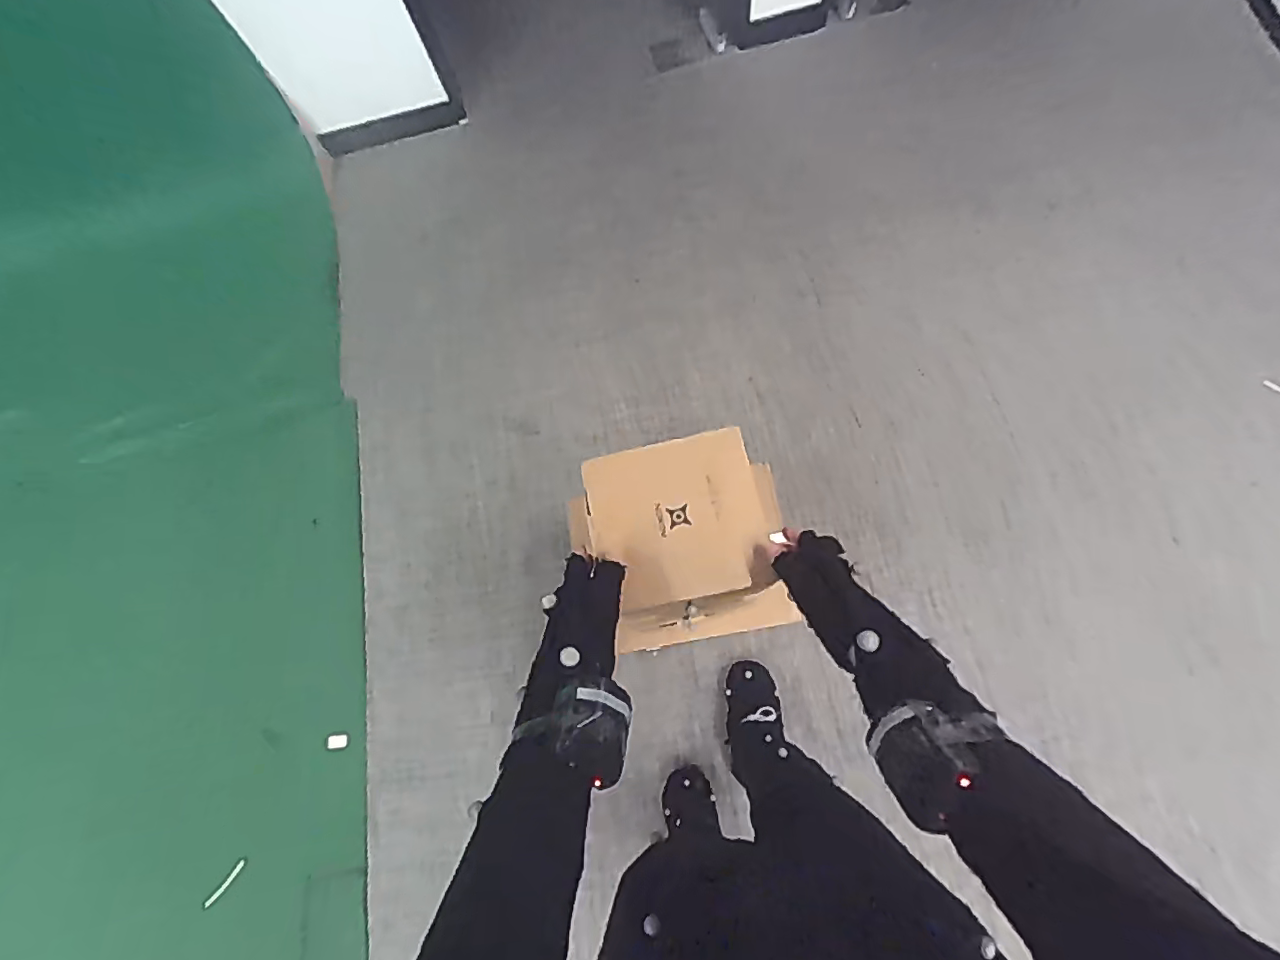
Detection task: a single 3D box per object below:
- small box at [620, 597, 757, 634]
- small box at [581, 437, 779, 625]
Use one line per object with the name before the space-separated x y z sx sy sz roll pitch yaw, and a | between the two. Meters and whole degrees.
small box | 0.057 0.123 0.778 0.179 0.176 0.168 -12 73 4
small box | 0.045 0.070 0.625 0.179 0.176 0.168 -13 74 1
